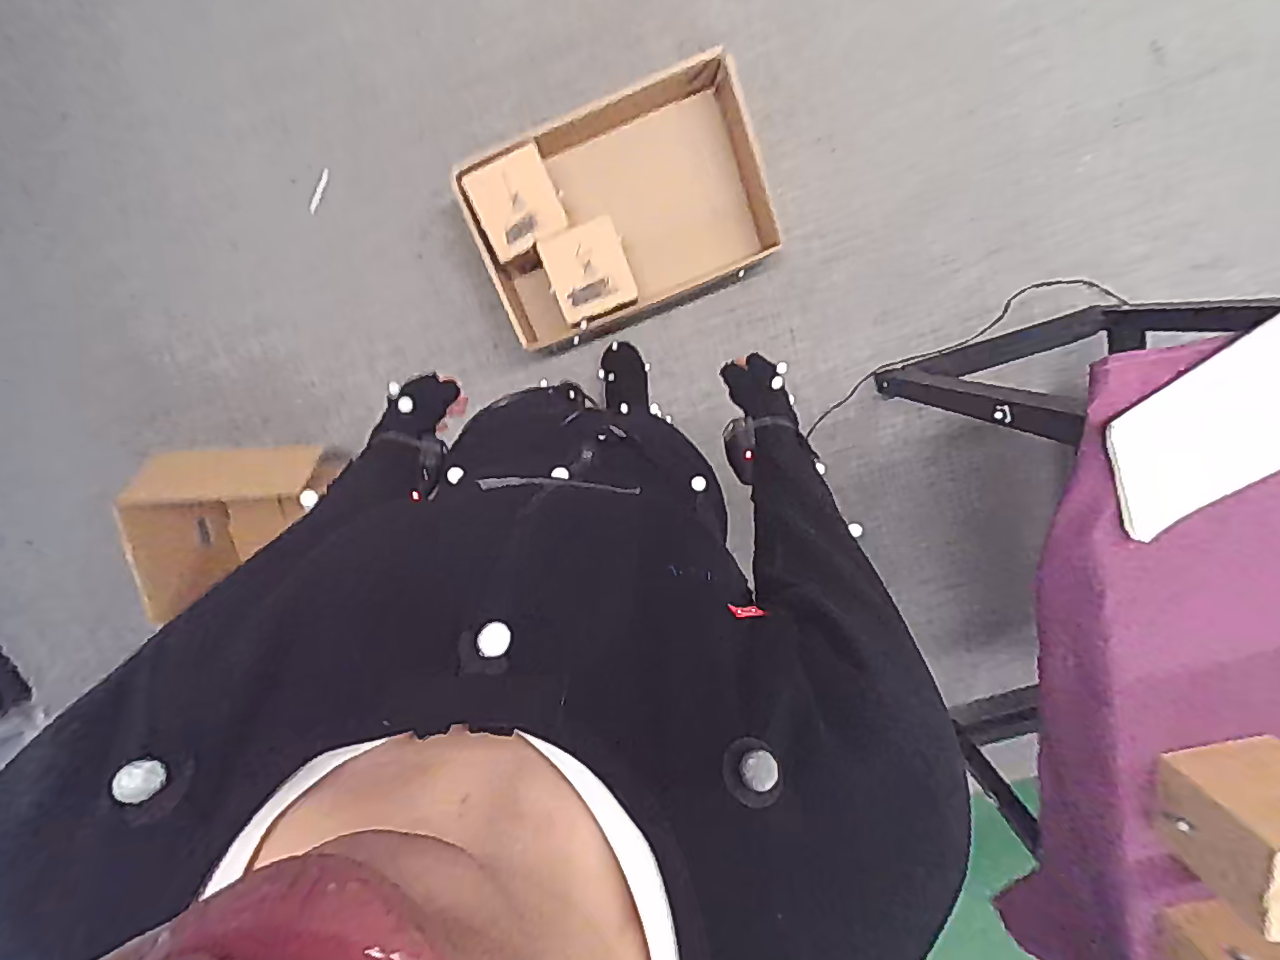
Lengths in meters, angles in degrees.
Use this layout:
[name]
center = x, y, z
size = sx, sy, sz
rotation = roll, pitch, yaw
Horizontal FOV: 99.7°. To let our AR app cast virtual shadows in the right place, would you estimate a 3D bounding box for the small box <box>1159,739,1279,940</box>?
[small box]
center = 0.924, 0.508, 0.786
size = 0.179, 0.176, 0.168
rotation = -13, 105, 3
